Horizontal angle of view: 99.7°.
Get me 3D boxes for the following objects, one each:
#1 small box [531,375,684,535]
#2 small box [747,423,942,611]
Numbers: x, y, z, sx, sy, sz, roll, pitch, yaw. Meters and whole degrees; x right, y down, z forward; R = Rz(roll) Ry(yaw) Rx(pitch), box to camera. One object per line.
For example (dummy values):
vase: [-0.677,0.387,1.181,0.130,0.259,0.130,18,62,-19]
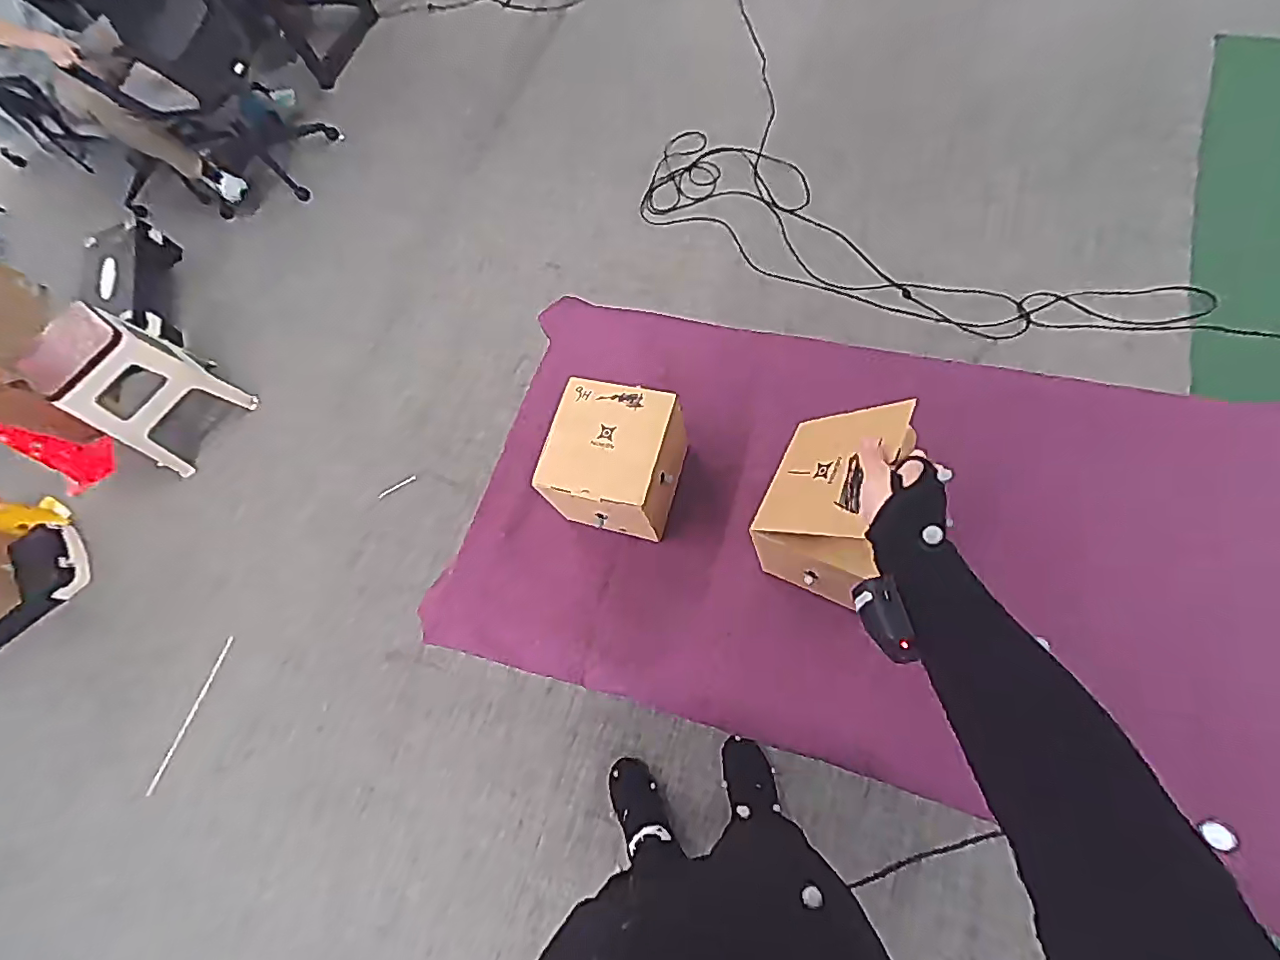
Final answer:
small box: [-0.036,-0.030,0.817,0.168,0.176,0.179,13,72,15]
small box: [0.264,0.055,0.709,0.179,0.176,0.168,22,72,28]
